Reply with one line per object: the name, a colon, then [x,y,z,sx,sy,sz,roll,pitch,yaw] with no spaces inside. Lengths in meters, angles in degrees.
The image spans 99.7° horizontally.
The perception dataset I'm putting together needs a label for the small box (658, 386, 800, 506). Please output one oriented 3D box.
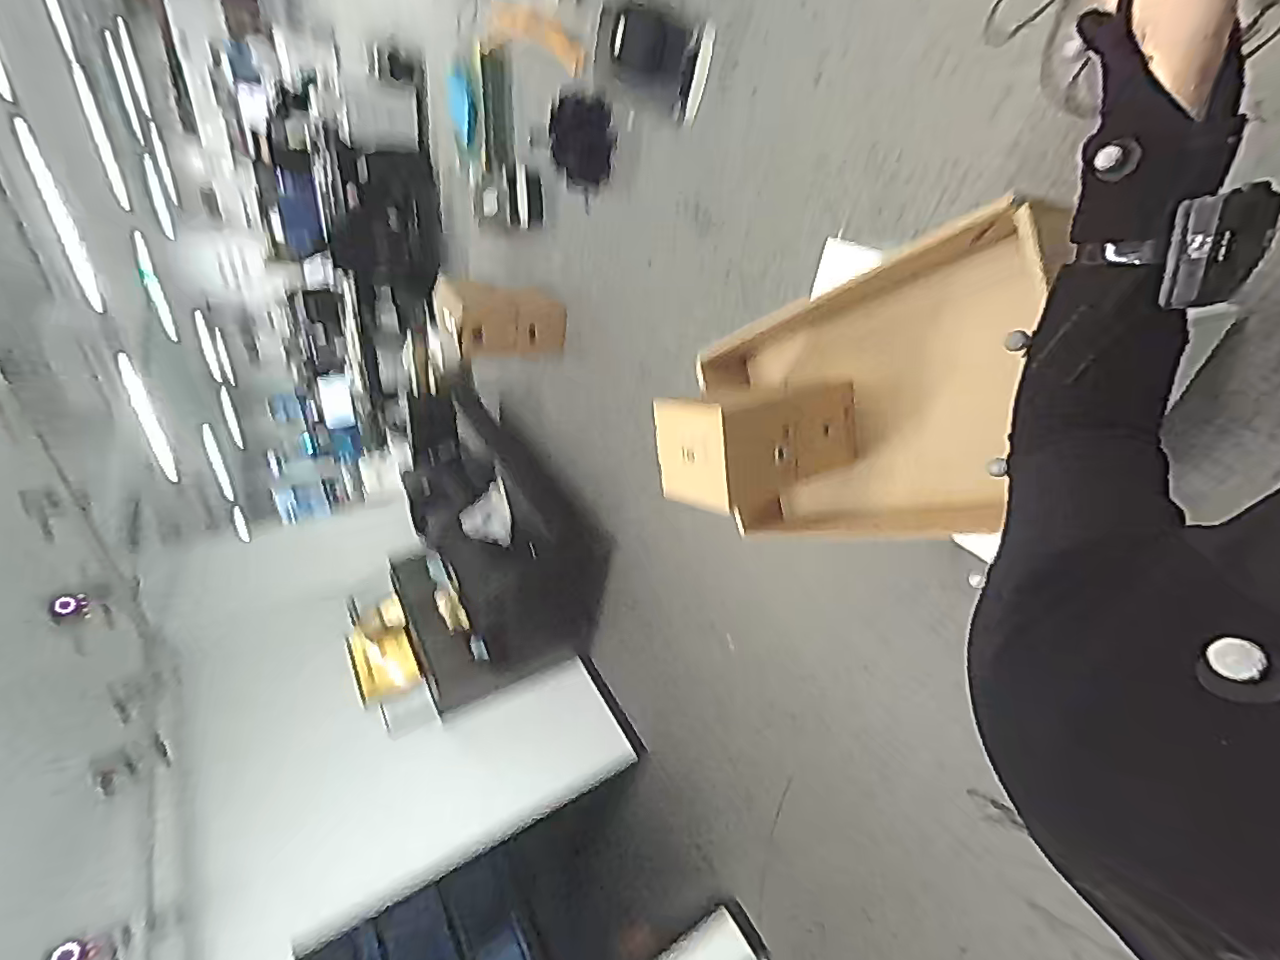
small box: [0.155,-0.069,0.946,0.179,0.176,0.168,15,118,53]
